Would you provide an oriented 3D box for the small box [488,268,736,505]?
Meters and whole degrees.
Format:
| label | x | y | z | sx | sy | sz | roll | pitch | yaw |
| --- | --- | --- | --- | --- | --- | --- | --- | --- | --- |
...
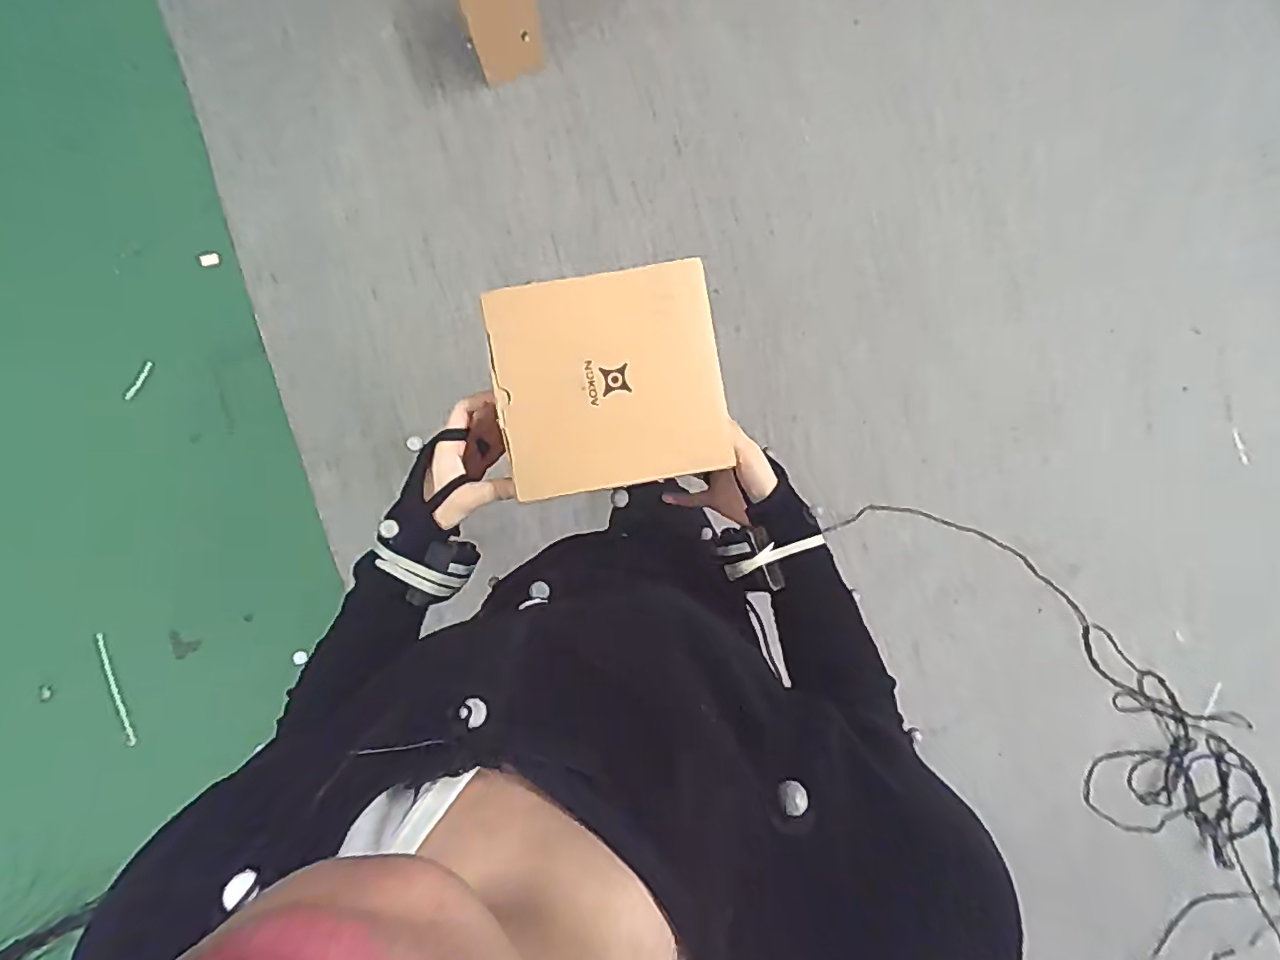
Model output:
| label | x | y | z | sx | sy | sz | roll | pitch | yaw |
| --- | --- | --- | --- | --- | --- | --- | --- | --- | --- |
| small box | -0.024 | -0.077 | 0.505 | 0.179 | 0.176 | 0.168 | -10 | 92 | -1 |
